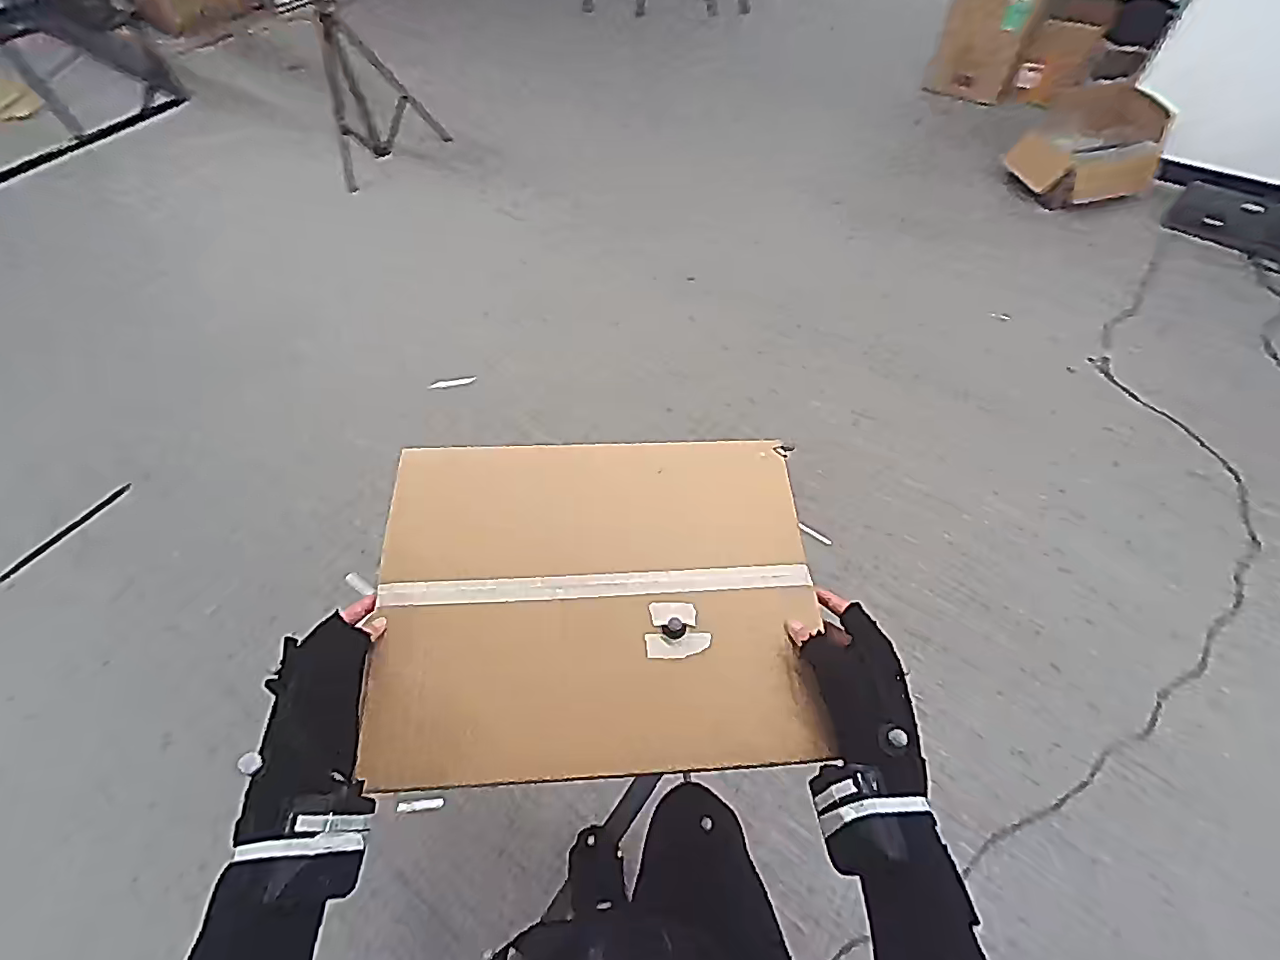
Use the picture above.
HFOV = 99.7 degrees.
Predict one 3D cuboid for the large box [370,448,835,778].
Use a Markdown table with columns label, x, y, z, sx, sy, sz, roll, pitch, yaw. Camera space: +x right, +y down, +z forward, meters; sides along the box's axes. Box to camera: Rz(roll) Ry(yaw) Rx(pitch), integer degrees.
| label | x | y | z | sx | sy | sz | roll | pitch | yaw |
| --- | --- | --- | --- | --- | --- | --- | --- | --- | --- |
| large box | -0.043 | 0.174 | 0.656 | 0.408 | 0.320 | 0.320 | -1 | 62 | -4 |
